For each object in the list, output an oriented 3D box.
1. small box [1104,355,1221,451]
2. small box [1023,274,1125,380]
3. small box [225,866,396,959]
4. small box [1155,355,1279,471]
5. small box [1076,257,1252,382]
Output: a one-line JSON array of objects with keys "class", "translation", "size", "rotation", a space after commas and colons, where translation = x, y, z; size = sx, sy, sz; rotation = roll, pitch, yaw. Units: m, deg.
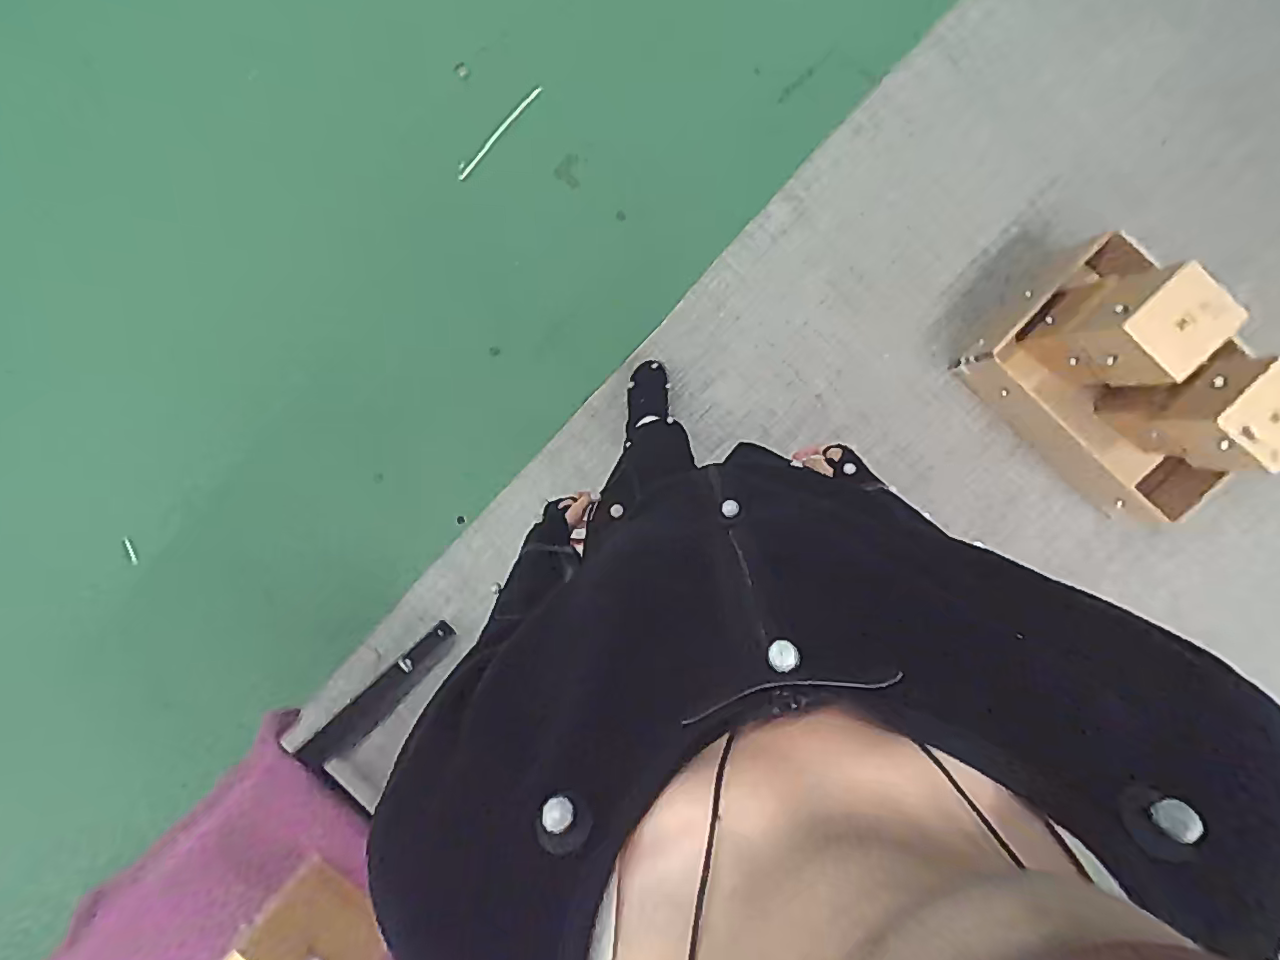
[{"class": "small box", "translation": [1.284, -0.178, 1.293], "size": [0.179, 0.176, 0.168], "rotation": [37, 98, -1]}, {"class": "small box", "translation": [1.076, -0.351, 1.288], "size": [0.179, 0.176, 0.168], "rotation": [38, 97, -2]}, {"class": "small box", "translation": [-0.502, 0.715, 0.786], "size": [0.179, 0.176, 0.168], "rotation": [42, 95, -3]}, {"class": "small box", "translation": [1.263, -0.140, 1.134], "size": [0.168, 0.176, 0.179], "rotation": [41, 96, 0]}, {"class": "small box", "translation": [1.068, -0.321, 1.127], "size": [0.168, 0.176, 0.179], "rotation": [42, 98, -2]}]
